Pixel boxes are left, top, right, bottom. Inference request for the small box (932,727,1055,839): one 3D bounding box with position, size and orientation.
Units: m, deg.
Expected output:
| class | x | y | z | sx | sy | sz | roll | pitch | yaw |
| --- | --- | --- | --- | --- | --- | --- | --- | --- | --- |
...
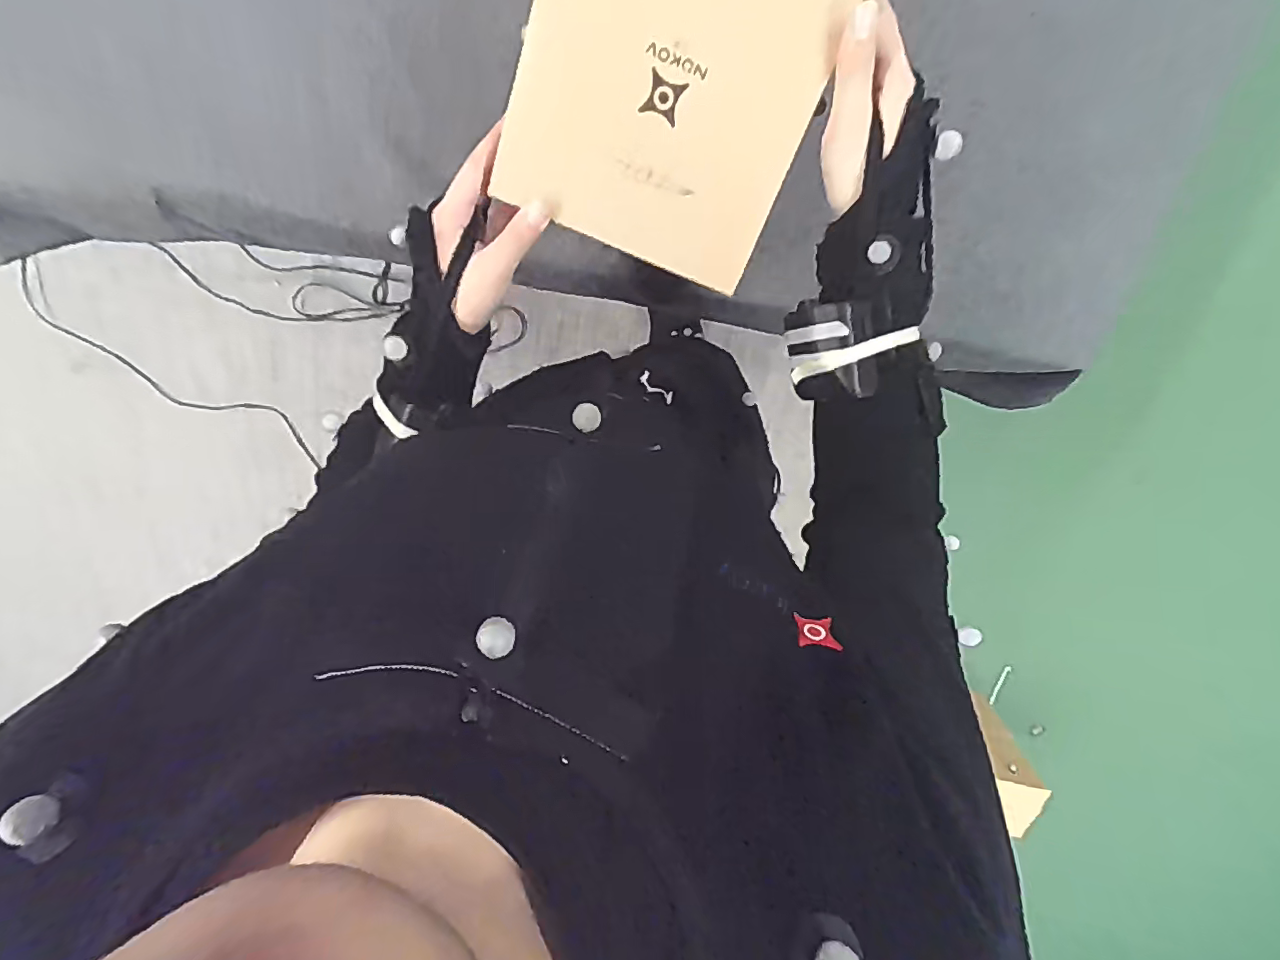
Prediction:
| class | x | y | z | sx | sy | sz | roll | pitch | yaw |
| --- | --- | --- | --- | --- | --- | --- | --- | --- | --- |
| small box | 0.880 | 0.759 | 1.369 | 0.179 | 0.176 | 0.168 | 13 | 110 | -1 |
